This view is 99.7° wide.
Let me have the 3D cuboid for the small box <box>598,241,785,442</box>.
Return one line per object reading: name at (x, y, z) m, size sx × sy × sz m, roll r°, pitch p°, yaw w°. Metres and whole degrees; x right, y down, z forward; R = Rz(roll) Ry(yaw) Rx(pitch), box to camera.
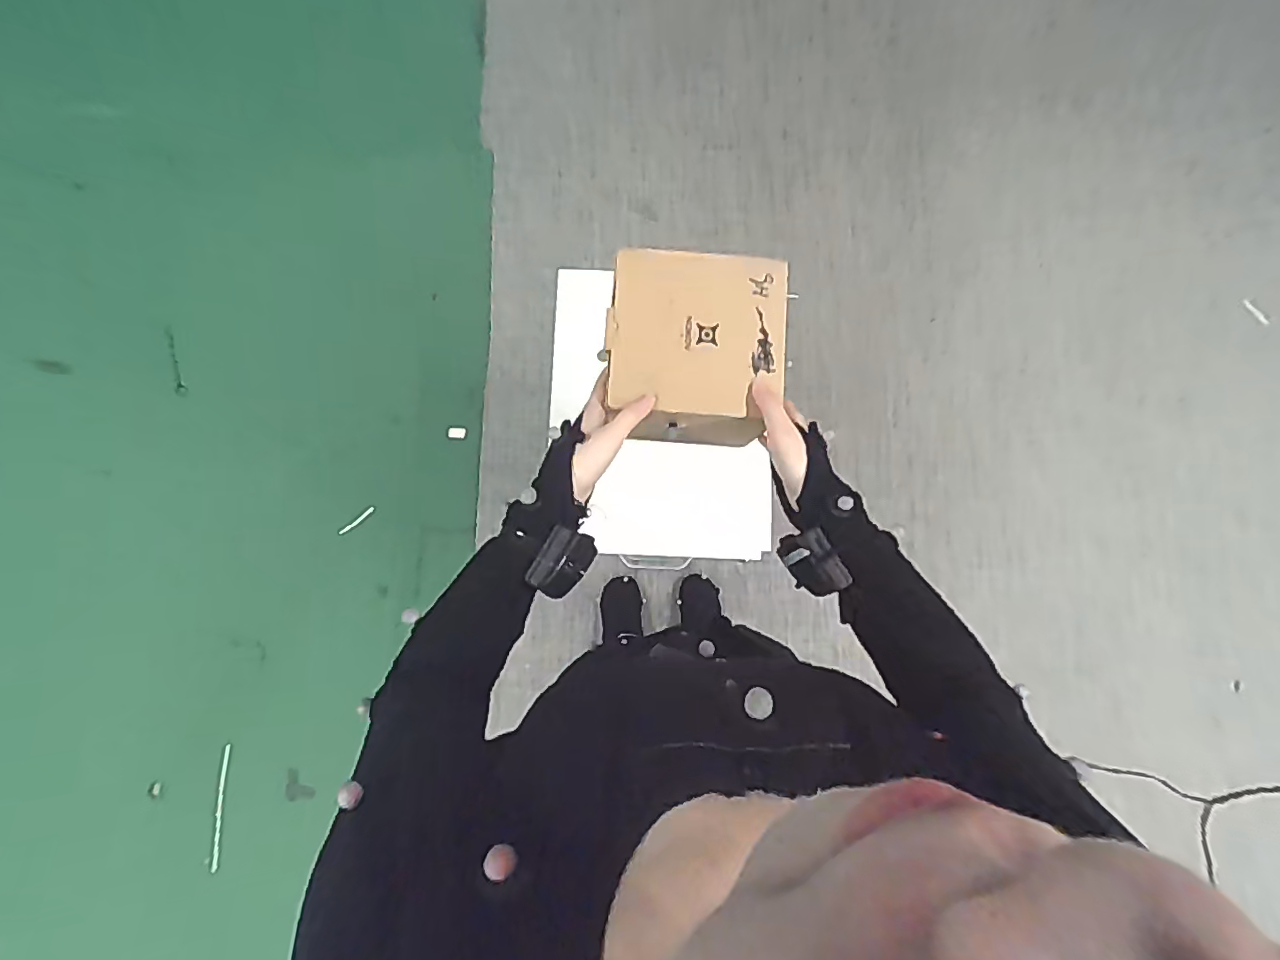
small box at (0.051, -0.141, 0.606) m, size 0.179 × 0.176 × 0.168 m, roll 4°, pitch 84°, yaw -1°
